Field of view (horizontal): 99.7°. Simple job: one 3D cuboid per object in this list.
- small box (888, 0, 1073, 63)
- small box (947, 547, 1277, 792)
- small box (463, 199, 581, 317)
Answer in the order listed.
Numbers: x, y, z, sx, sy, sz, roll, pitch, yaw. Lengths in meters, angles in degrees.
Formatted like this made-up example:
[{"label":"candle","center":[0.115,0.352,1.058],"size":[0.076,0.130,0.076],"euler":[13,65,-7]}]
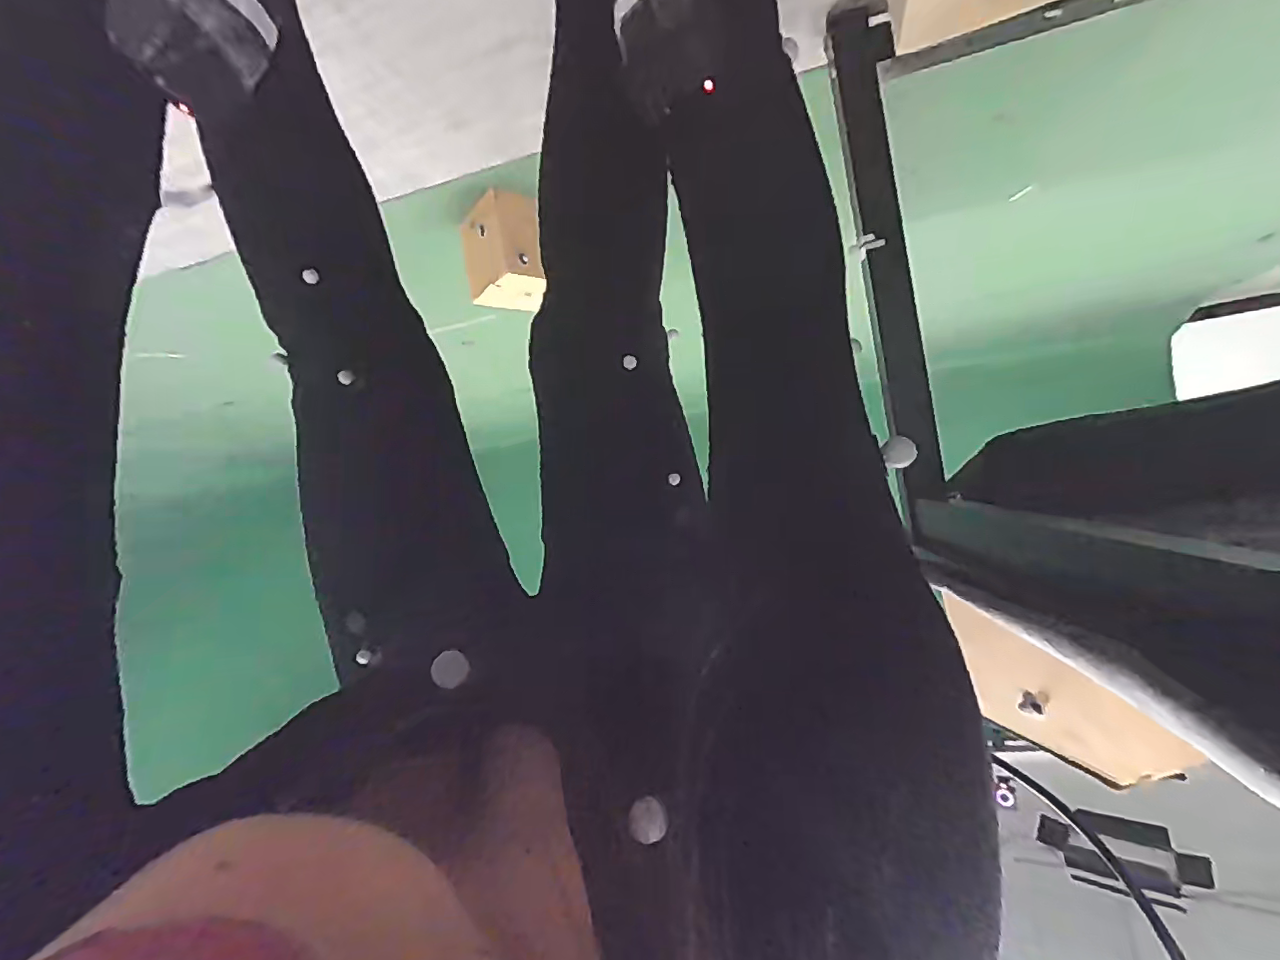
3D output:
[{"label":"small box","center":[0.328,-0.556,0.504],"size":[0.179,0.176,0.168],"euler":[-9,180,18]},{"label":"small box","center":[0.445,0.167,0.542],"size":[0.168,0.176,0.179],"euler":[-11,177,-7]},{"label":"small box","center":[-0.247,-0.454,1.124],"size":[0.179,0.176,0.168],"euler":[-6,177,-41]}]
